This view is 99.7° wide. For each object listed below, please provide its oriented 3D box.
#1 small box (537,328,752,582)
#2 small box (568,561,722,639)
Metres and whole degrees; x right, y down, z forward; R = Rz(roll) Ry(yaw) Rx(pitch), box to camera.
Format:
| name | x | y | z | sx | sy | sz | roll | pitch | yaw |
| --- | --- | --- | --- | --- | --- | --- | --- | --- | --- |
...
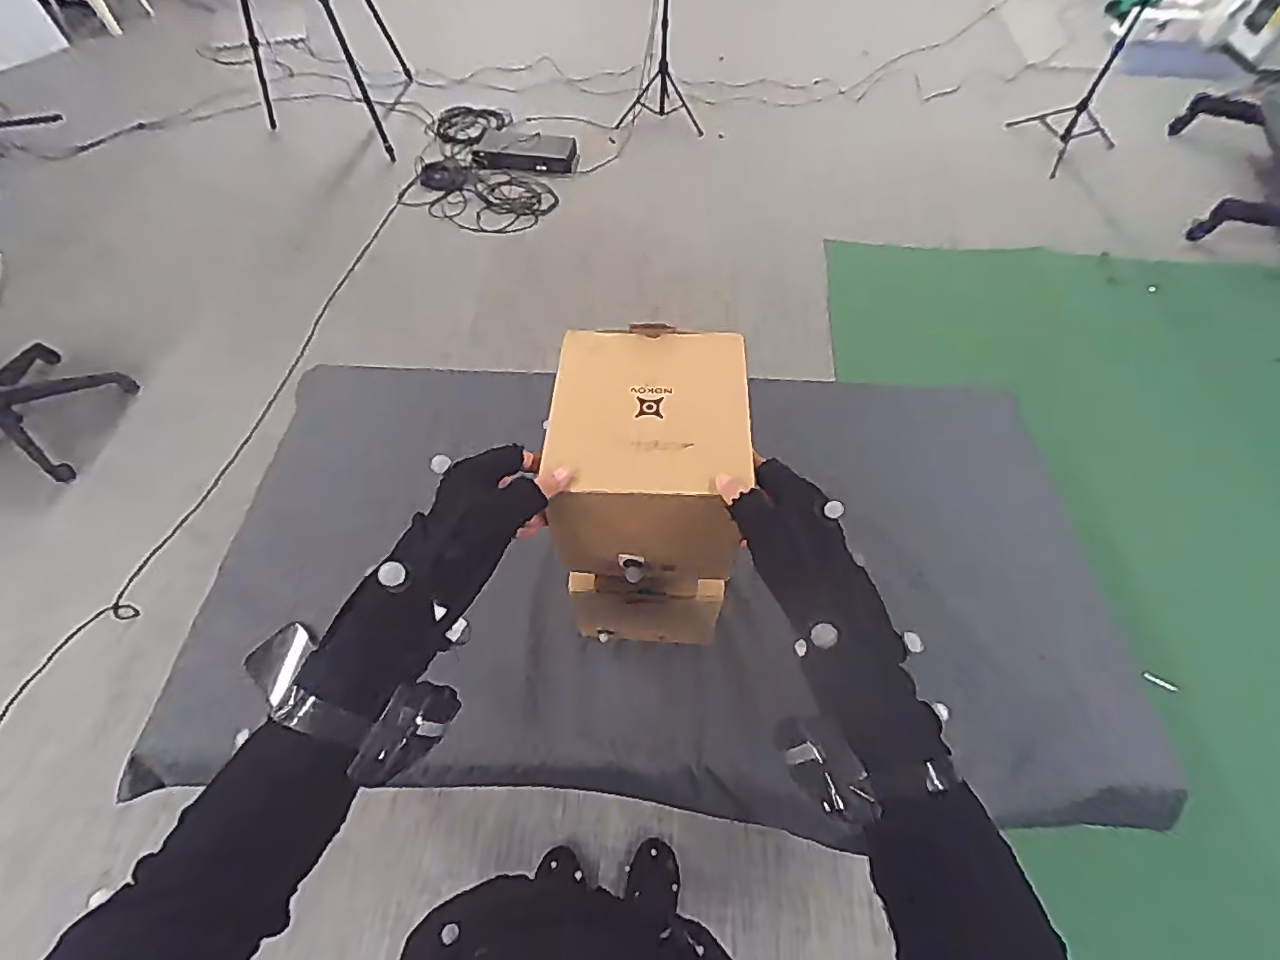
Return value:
| name | x | y | z | sx | sy | sz | roll | pitch | yaw |
| --- | --- | --- | --- | --- | --- | --- | --- | --- | --- |
| small box | 0.010 | -0.020 | 0.516 | 0.168 | 0.176 | 0.179 | 2 | 58 | 3 |
| small box | 0.012 | 0.088 | 0.676 | 0.168 | 0.176 | 0.179 | 4 | 57 | 2 |
